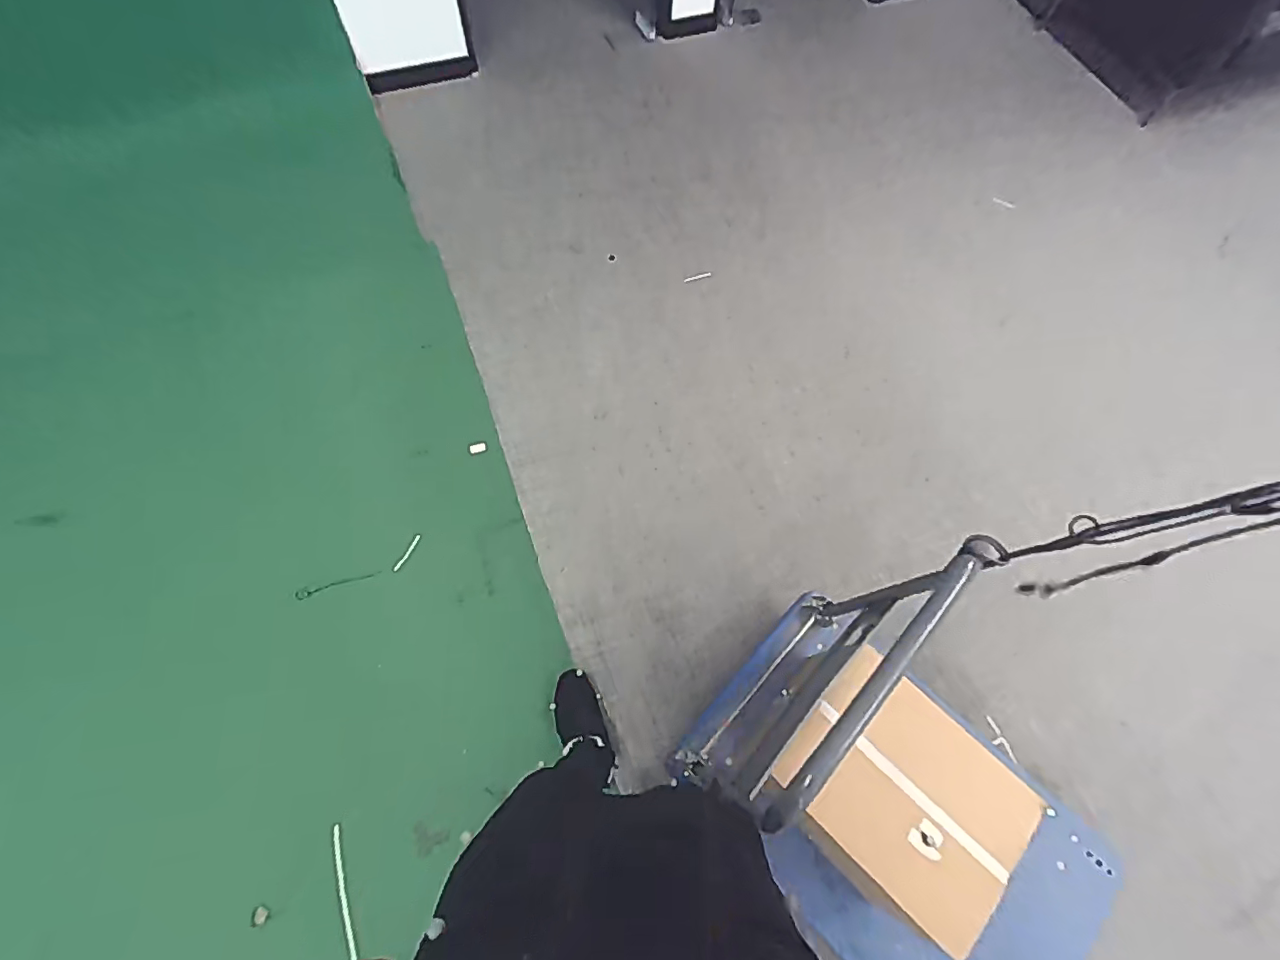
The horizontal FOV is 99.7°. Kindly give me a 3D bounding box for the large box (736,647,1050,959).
[{"bbox_3d":[0.466,0.602,1.083,0.408,0.320,0.320,43,71,13],"label":"large box"}]
